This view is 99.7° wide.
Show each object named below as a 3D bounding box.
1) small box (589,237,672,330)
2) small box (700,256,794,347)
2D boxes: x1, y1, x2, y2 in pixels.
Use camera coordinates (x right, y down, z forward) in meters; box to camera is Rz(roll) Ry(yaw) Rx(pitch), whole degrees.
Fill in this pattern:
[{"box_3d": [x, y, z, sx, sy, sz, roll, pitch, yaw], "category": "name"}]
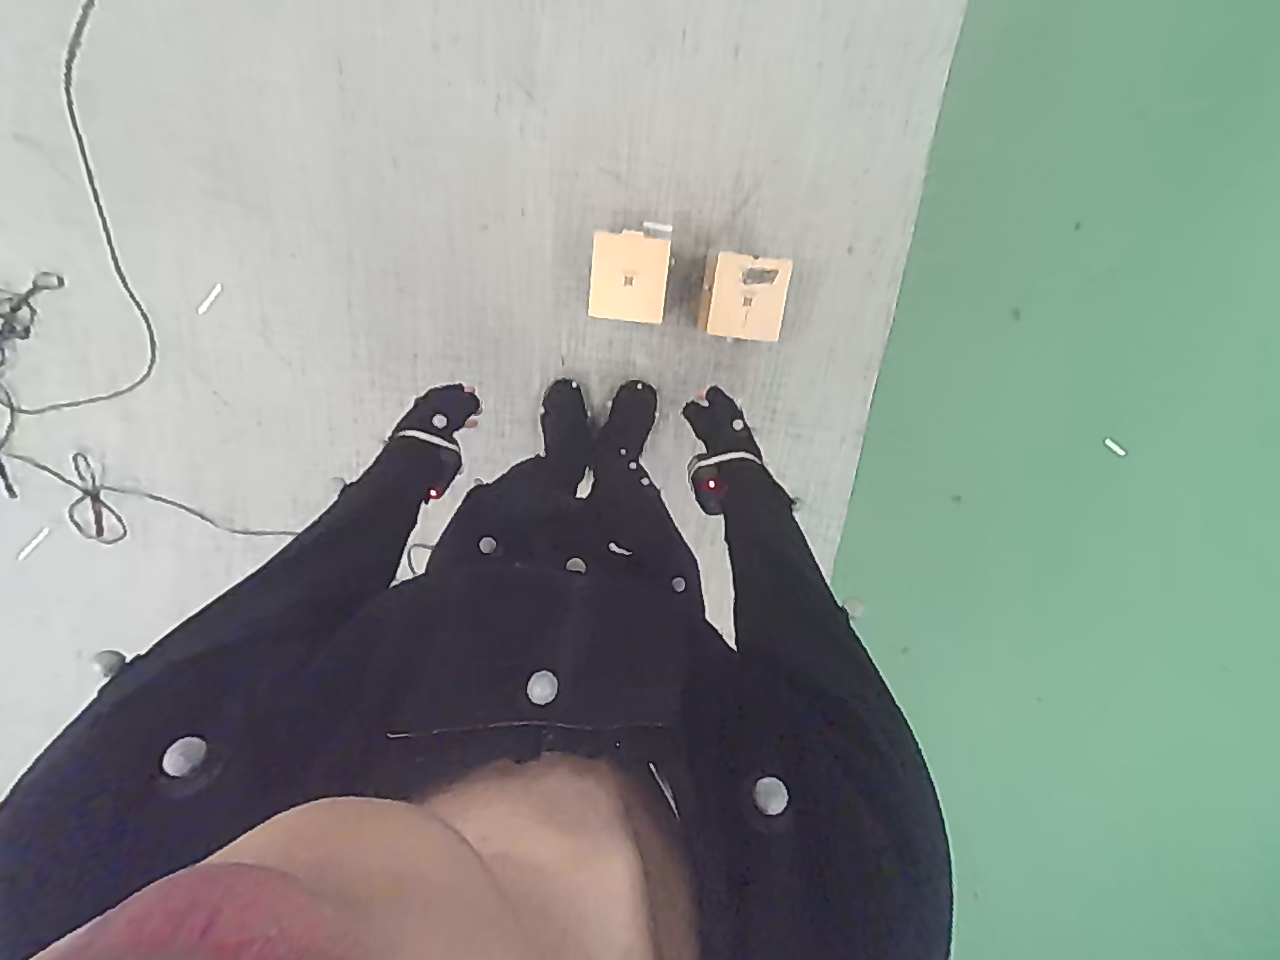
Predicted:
[{"box_3d": [-0.022, -0.444, 1.237, 0.168, 0.176, 0.179, 5, 106, -4], "category": "small box"}, {"box_3d": [0.239, -0.411, 1.255, 0.168, 0.176, 0.179, 6, 108, -4], "category": "small box"}]
